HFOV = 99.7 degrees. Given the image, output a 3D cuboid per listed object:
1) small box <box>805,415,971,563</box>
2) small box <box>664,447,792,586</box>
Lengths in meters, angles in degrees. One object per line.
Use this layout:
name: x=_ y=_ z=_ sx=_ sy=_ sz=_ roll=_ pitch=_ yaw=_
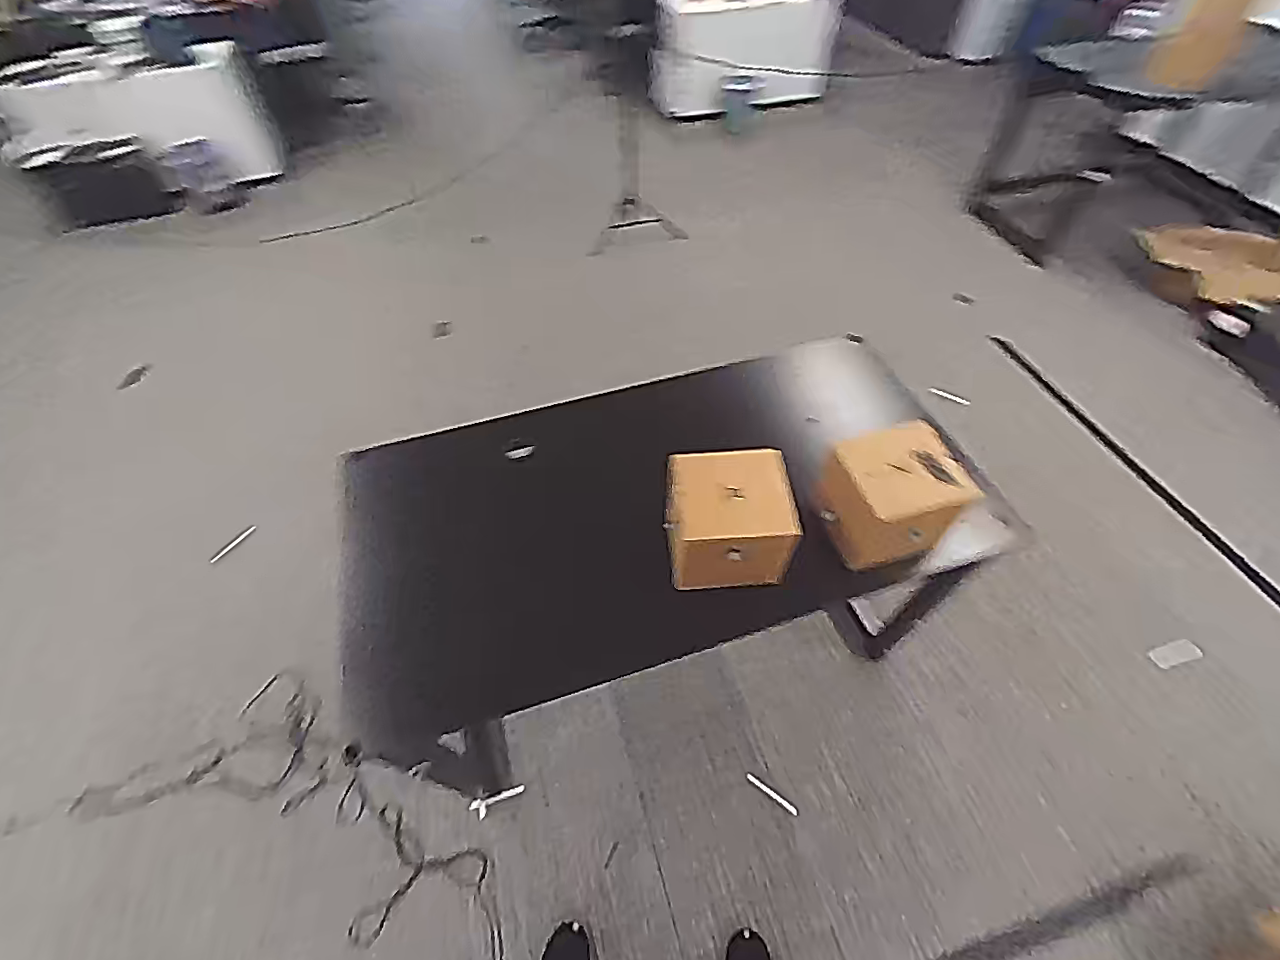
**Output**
small box: x=0.411 y=0.019 z=0.932 sx=0.179 sy=0.176 sz=0.168 roll=-15 pitch=54 yaw=-8
small box: x=0.135 y=0.064 z=0.909 sx=0.179 sy=0.176 sz=0.168 roll=-5 pitch=53 yaw=-2
